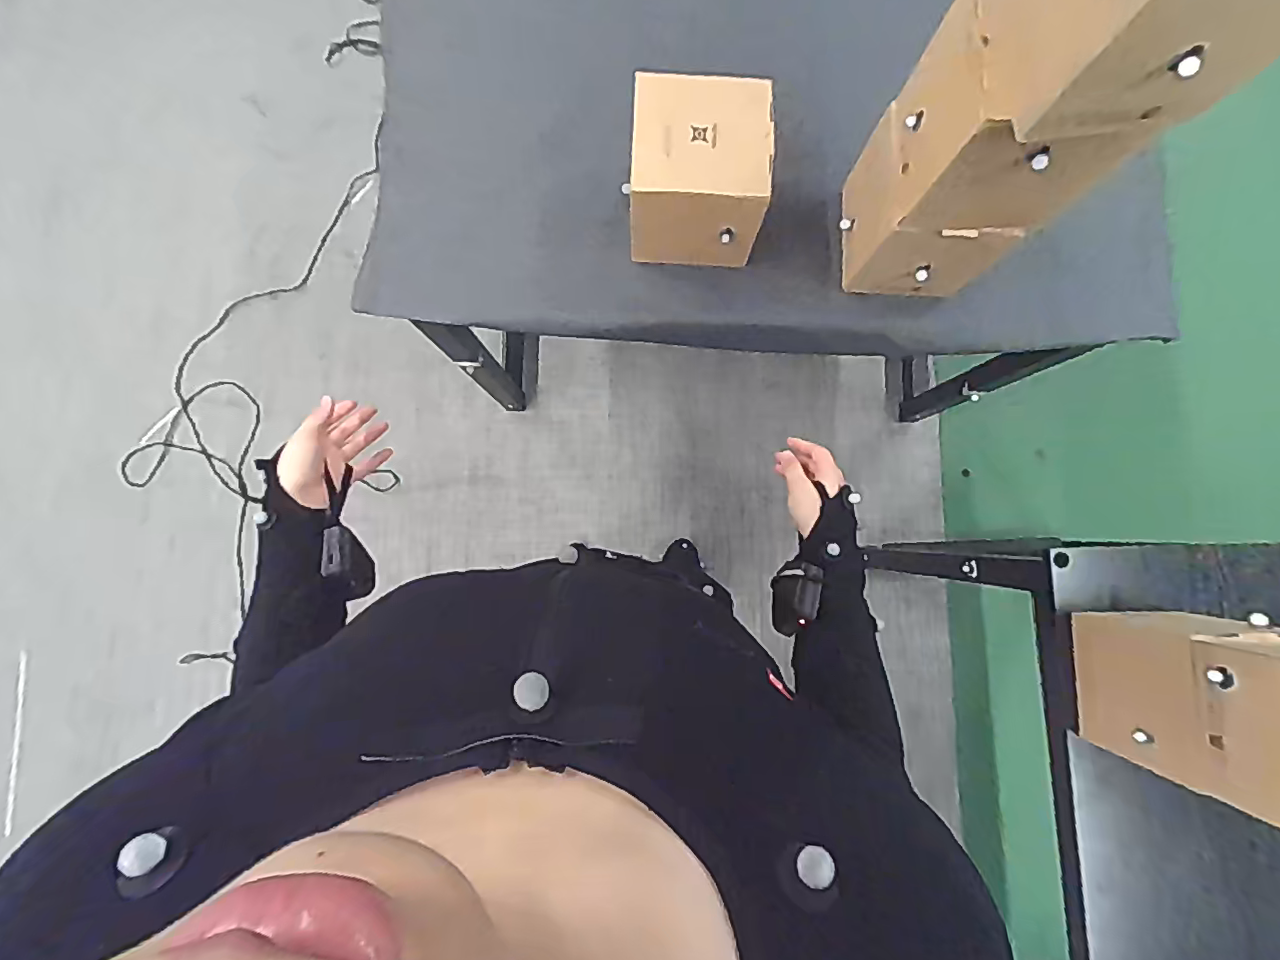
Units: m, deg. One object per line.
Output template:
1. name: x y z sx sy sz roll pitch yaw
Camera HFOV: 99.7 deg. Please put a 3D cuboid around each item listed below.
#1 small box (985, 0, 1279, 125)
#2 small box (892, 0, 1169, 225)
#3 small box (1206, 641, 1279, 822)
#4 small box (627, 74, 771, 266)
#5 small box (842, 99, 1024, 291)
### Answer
1. small box: 0.403 -0.407 0.414 0.168 0.176 0.179 -7 83 -1
2. small box: 0.396 -0.396 0.579 0.179 0.176 0.168 1 83 1
3. small box: 0.701 0.255 0.514 0.179 0.176 0.168 2 86 0
4. small box: 0.074 -0.415 0.747 0.179 0.176 0.168 2 82 1
5. small box: 0.387 -0.376 0.741 0.168 0.176 0.179 3 84 1
